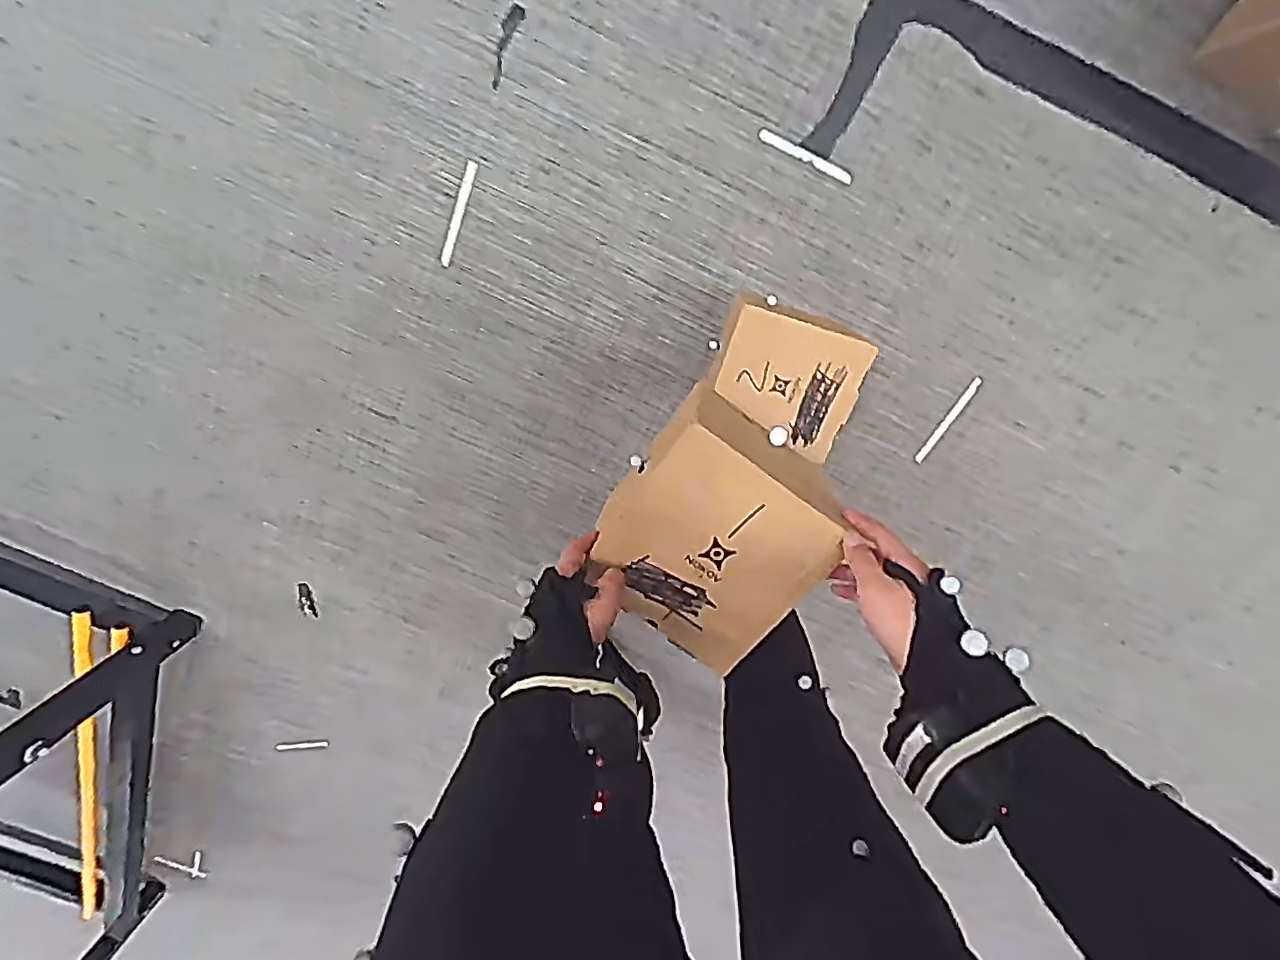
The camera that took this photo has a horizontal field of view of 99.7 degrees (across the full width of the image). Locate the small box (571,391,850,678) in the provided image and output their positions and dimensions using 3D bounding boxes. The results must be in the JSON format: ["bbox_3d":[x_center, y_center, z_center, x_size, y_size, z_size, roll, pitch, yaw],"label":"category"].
[{"bbox_3d":[0.064,0.041,0.518,0.168,0.176,0.179,36,111,-7],"label":"small box"}]
